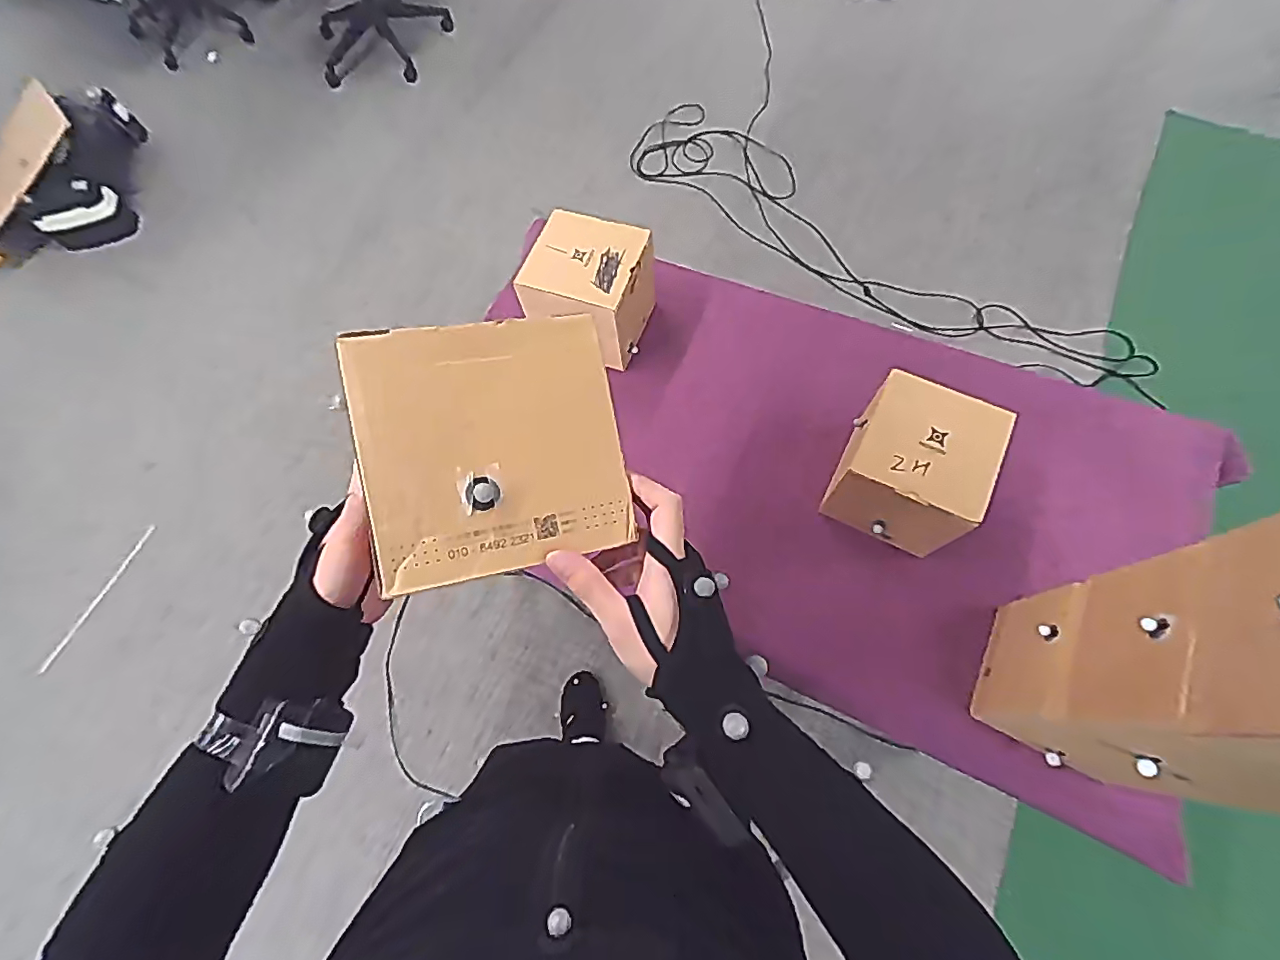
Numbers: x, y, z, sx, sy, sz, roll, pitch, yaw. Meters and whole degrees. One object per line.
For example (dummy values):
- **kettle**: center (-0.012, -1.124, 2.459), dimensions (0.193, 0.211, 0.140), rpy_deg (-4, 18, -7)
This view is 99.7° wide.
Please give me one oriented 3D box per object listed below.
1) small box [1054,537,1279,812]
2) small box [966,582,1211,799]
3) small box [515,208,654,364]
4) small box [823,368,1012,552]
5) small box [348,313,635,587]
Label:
- **small box**: center (0.539, 0.185, 0.510), dimensions (0.168, 0.176, 0.179), rpy_deg (25, 71, 15)
- **small box**: center (0.546, 0.249, 0.661), dimensions (0.179, 0.176, 0.168), rpy_deg (26, 71, 13)
- **small box**: center (-0.082, -0.323, 0.926), dimensions (0.179, 0.176, 0.168), rpy_deg (18, 71, 11)
- **small box**: center (0.385, -0.022, 0.780), dimensions (0.168, 0.176, 0.179), rpy_deg (26, 72, 13)
- **small box**: center (-0.114, -0.017, 0.435), dimensions (0.168, 0.179, 0.176), rpy_deg (-11, 89, -17)
